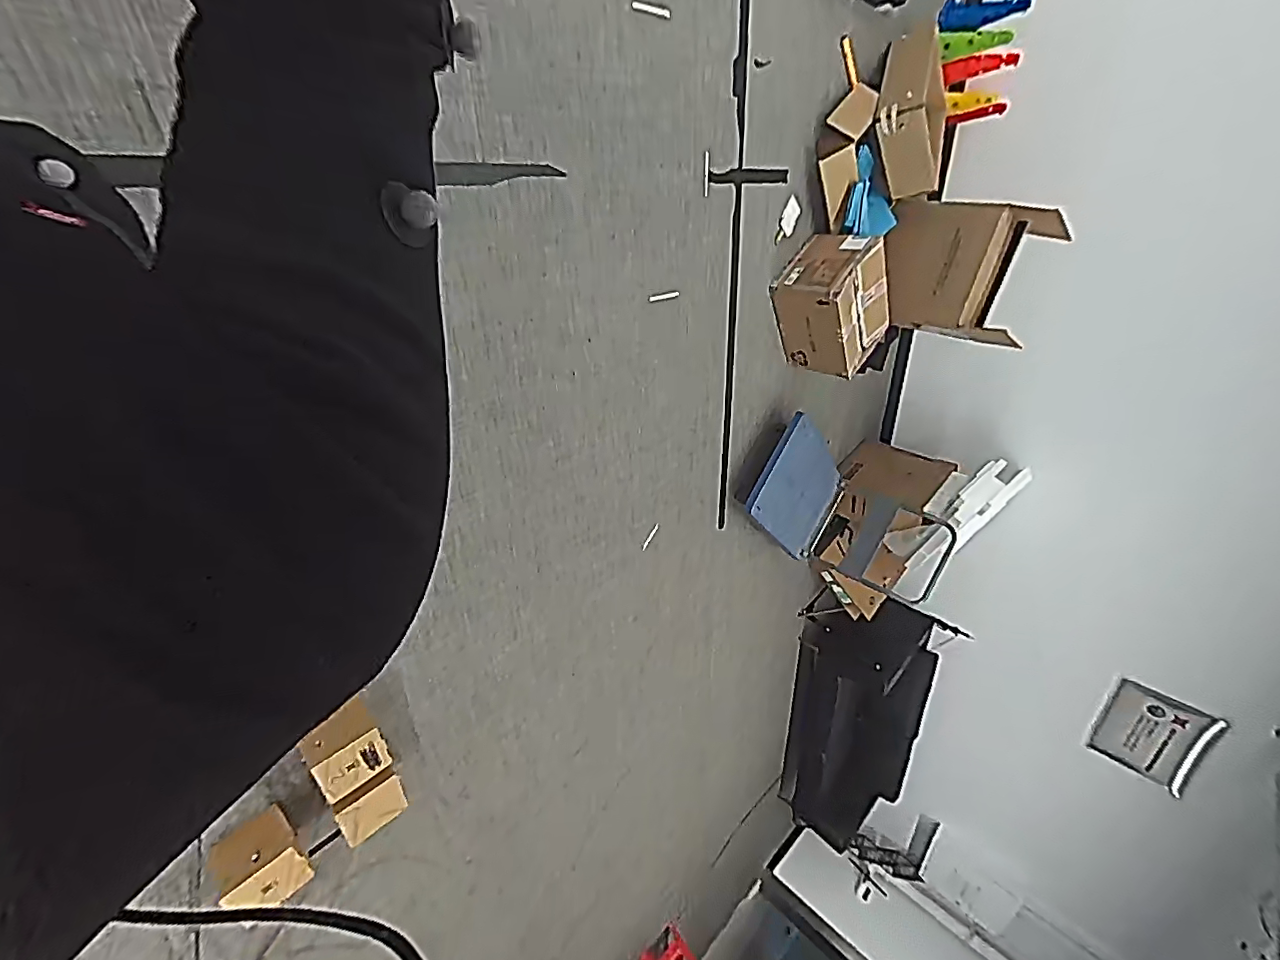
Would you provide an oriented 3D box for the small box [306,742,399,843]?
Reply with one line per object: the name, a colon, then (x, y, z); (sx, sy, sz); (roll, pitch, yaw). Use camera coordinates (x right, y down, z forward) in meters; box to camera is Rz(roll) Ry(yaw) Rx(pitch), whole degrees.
small box: (-0.858, 0.943, 1.620); (0.179, 0.176, 0.168); (-26, 127, -38)
